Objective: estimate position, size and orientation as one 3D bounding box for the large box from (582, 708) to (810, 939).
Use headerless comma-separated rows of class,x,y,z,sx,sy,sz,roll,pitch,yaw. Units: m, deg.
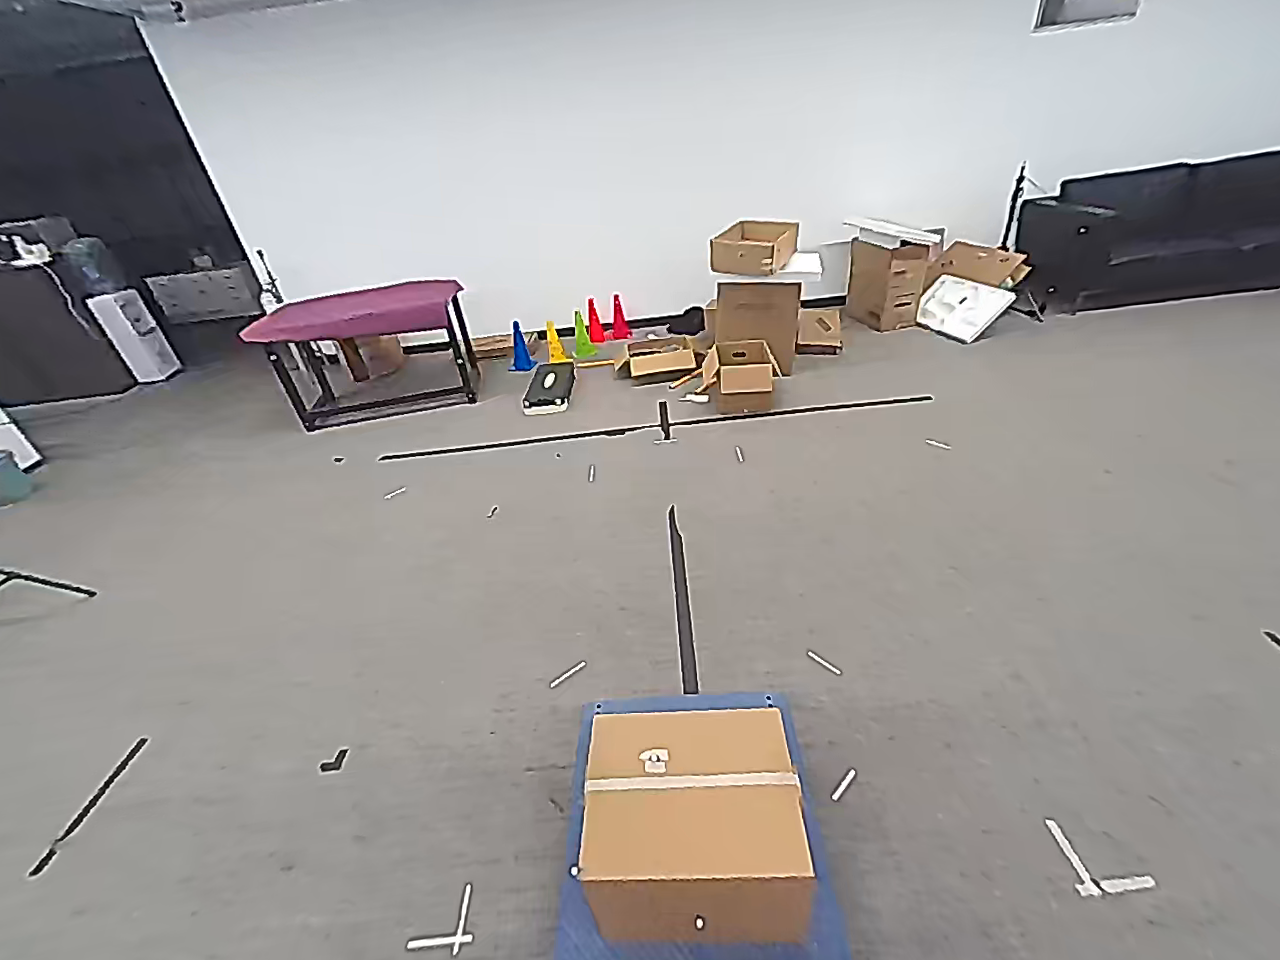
large box,0.115,0.722,1.141,0.408,0.320,0.320,-6,32,5
